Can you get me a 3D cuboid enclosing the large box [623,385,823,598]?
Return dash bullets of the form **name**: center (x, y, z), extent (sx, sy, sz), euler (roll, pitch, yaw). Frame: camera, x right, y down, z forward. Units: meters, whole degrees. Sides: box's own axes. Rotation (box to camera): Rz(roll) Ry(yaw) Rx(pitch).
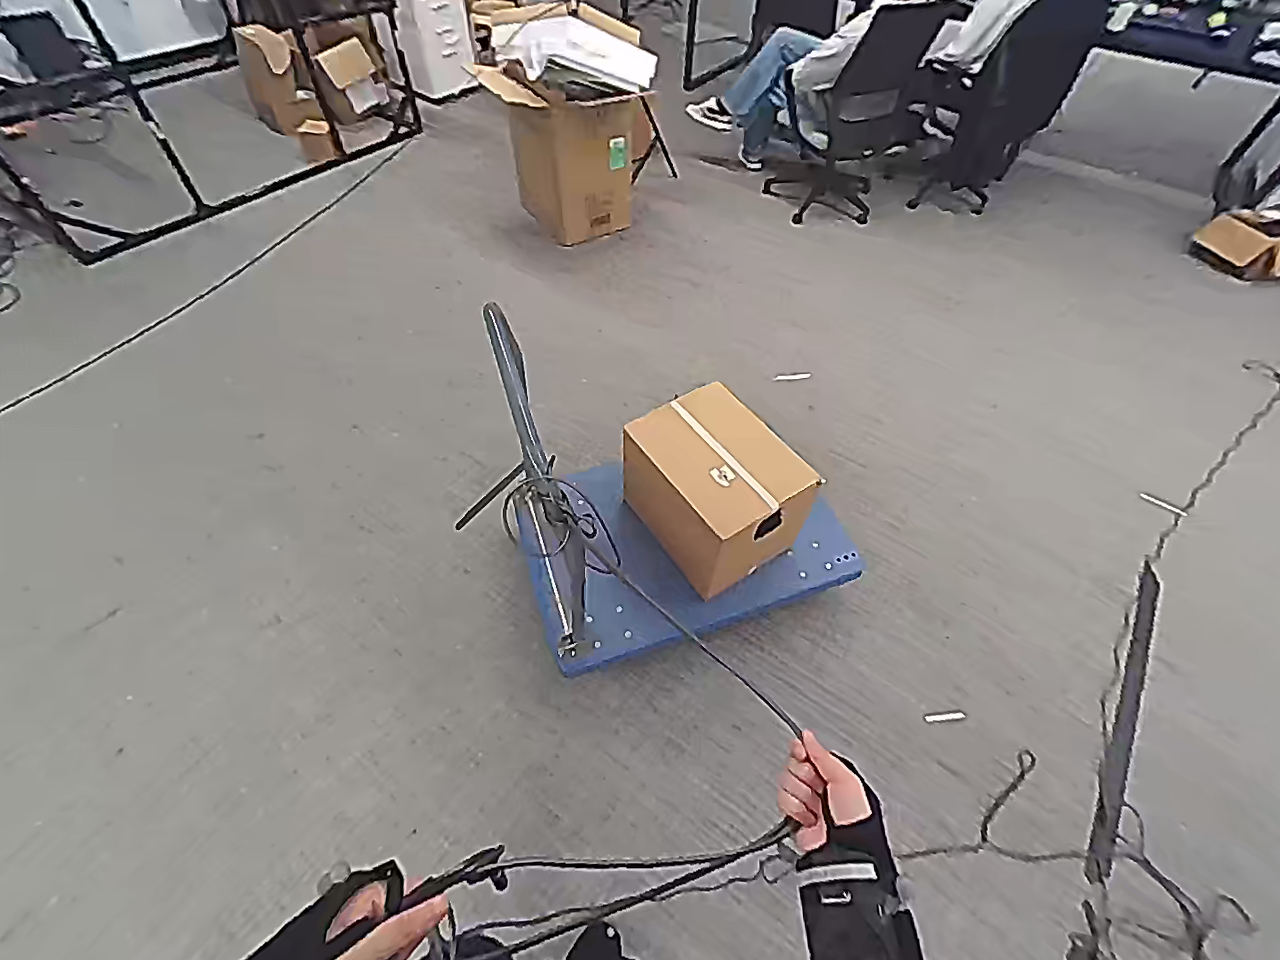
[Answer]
- **large box**: center (0.190, 0.026, 1.426), extent (0.320, 0.320, 0.408), euler (-28, 60, -20)
